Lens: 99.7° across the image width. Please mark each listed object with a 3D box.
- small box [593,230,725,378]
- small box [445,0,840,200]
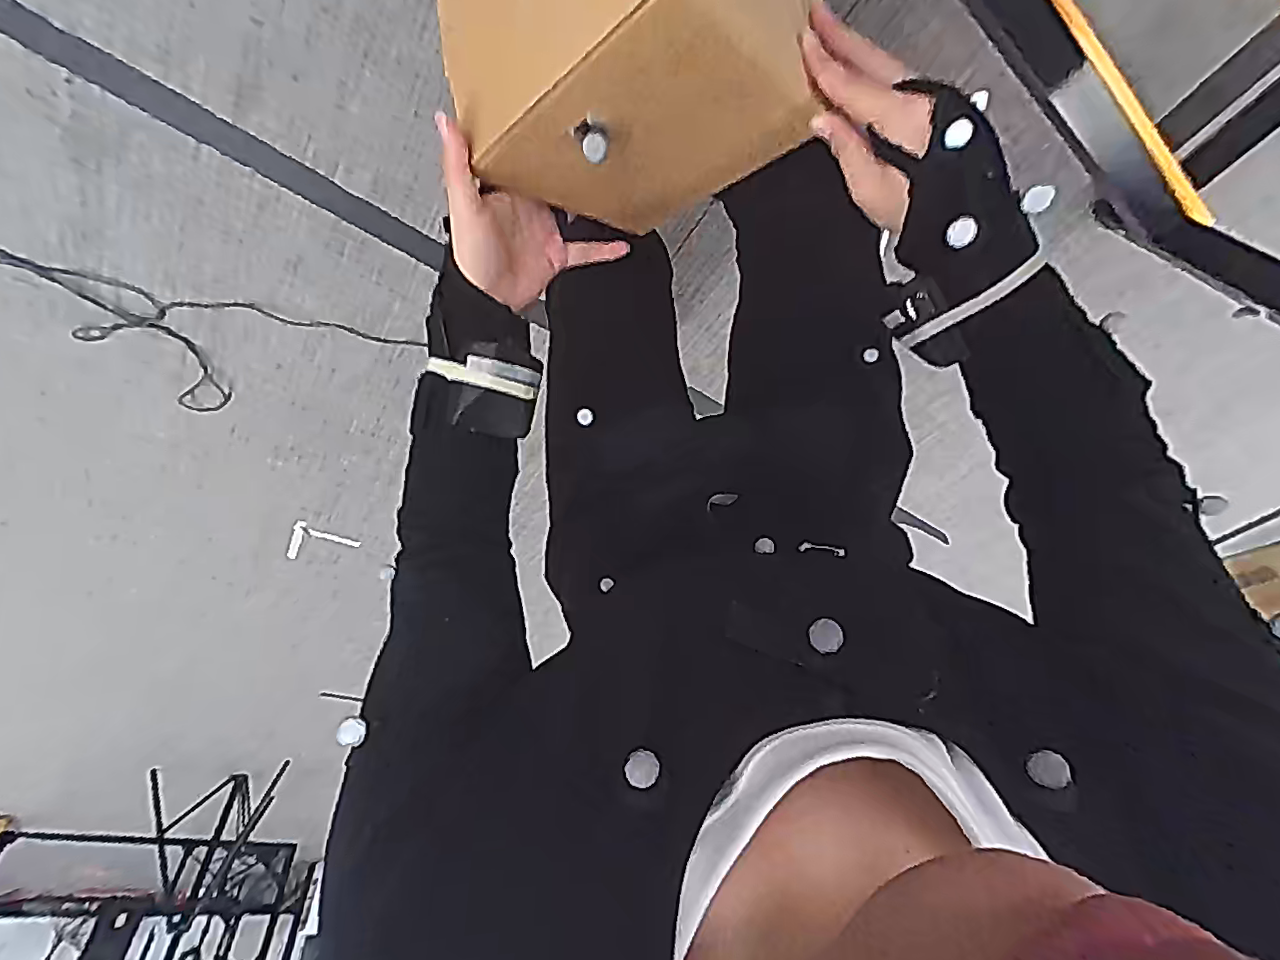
[{"bbox_3d":[0.028,-0.286,0.886,0.179,0.176,0.168,-14,126,6],"label":"small box"},{"bbox_3d":[0.002,-0.297,0.321,0.179,0.168,0.176,-7,-177,45],"label":"small box"}]
